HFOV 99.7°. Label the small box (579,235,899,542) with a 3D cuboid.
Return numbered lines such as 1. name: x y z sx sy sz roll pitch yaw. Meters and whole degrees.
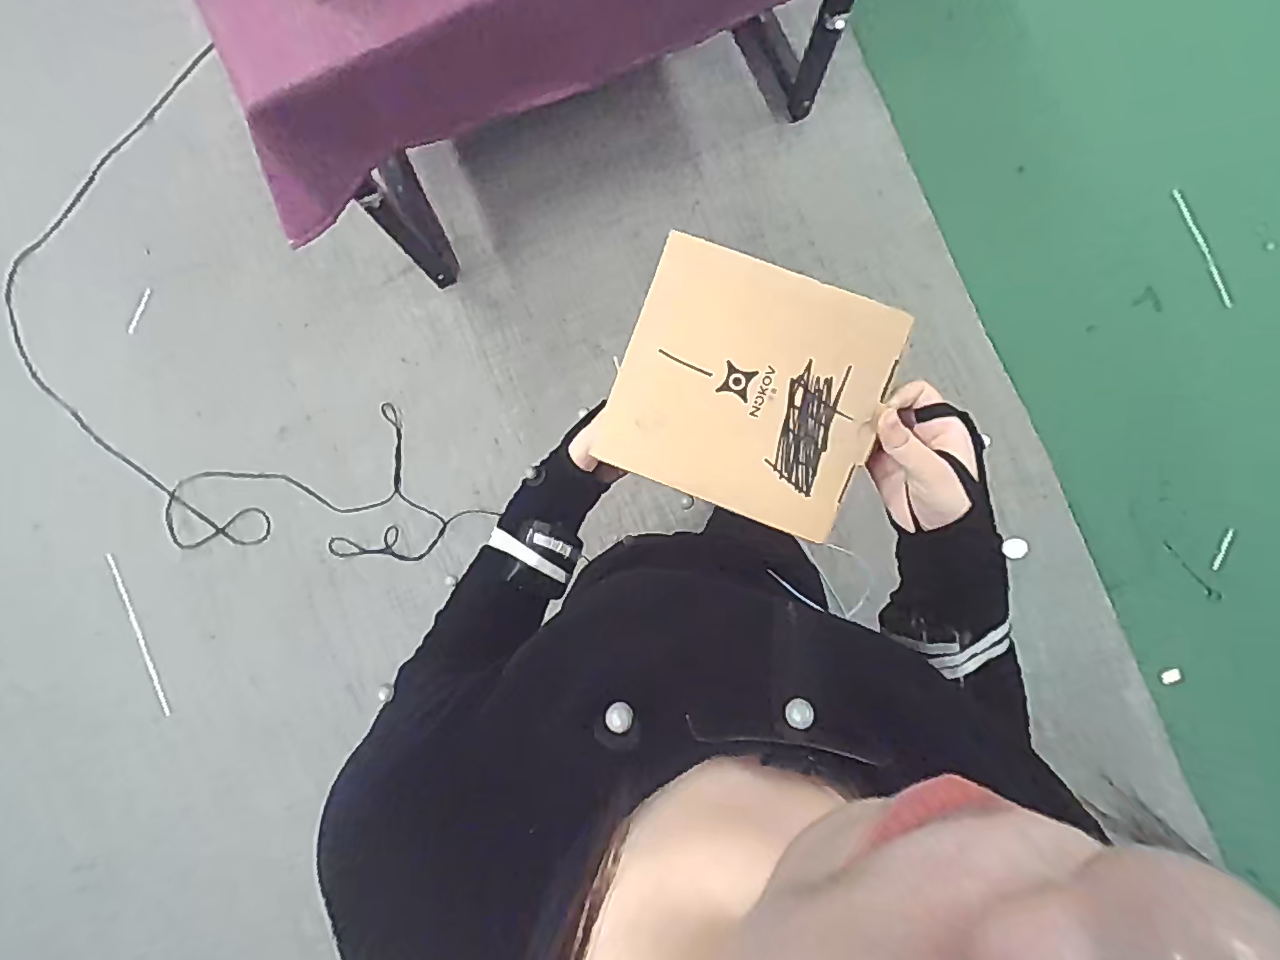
1. small box: 0.071 -0.066 0.449 0.179 0.176 0.168 21 93 2
